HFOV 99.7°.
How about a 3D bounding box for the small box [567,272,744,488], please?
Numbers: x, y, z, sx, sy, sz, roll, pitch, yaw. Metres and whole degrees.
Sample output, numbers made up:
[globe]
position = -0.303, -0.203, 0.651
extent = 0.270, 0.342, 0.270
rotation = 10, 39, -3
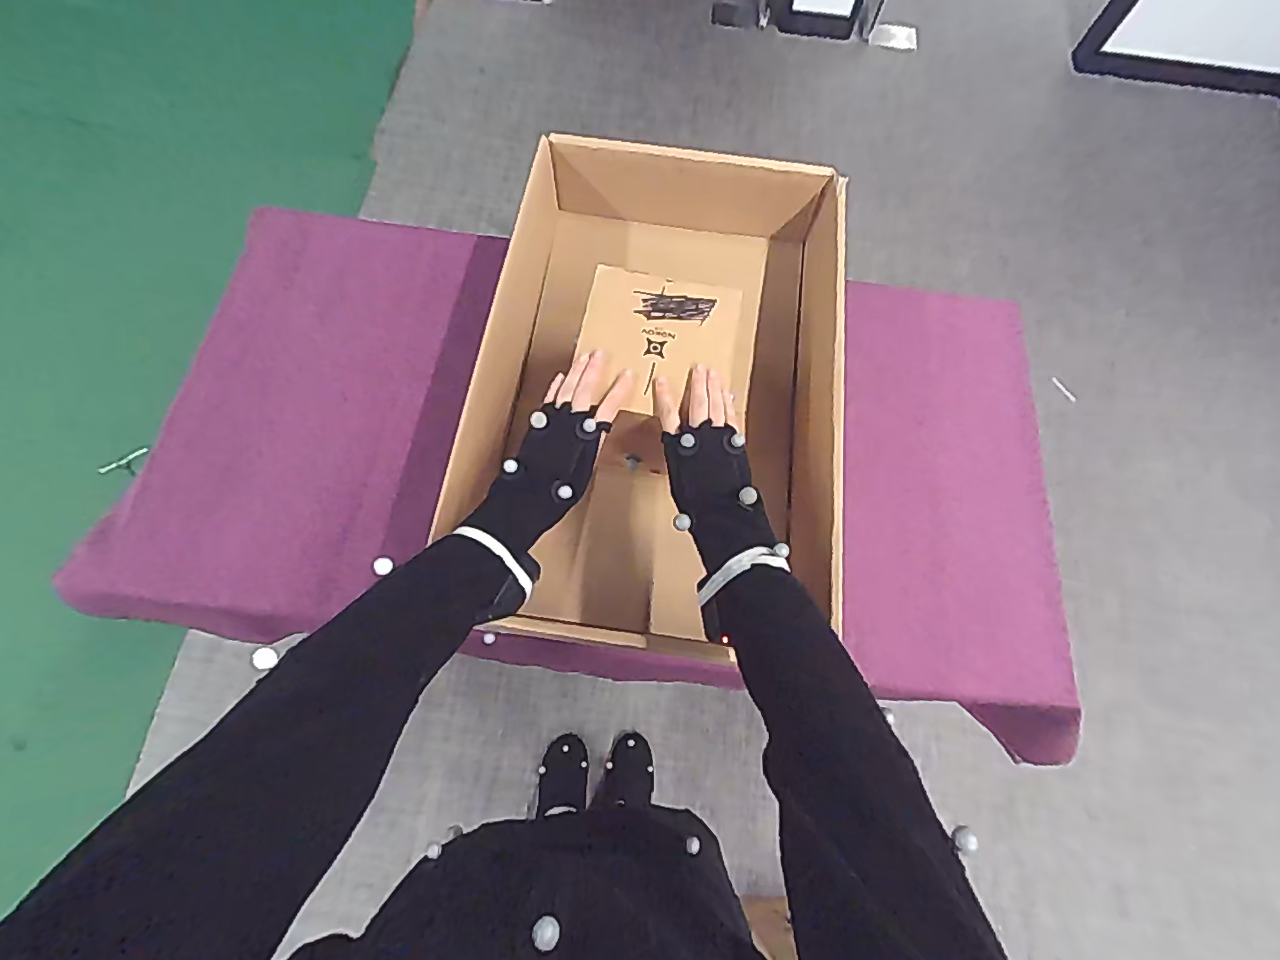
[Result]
[small box]
position = 0.017, -0.110, 0.643
extent = 0.168, 0.176, 0.179
rotation = 10, 70, 2
